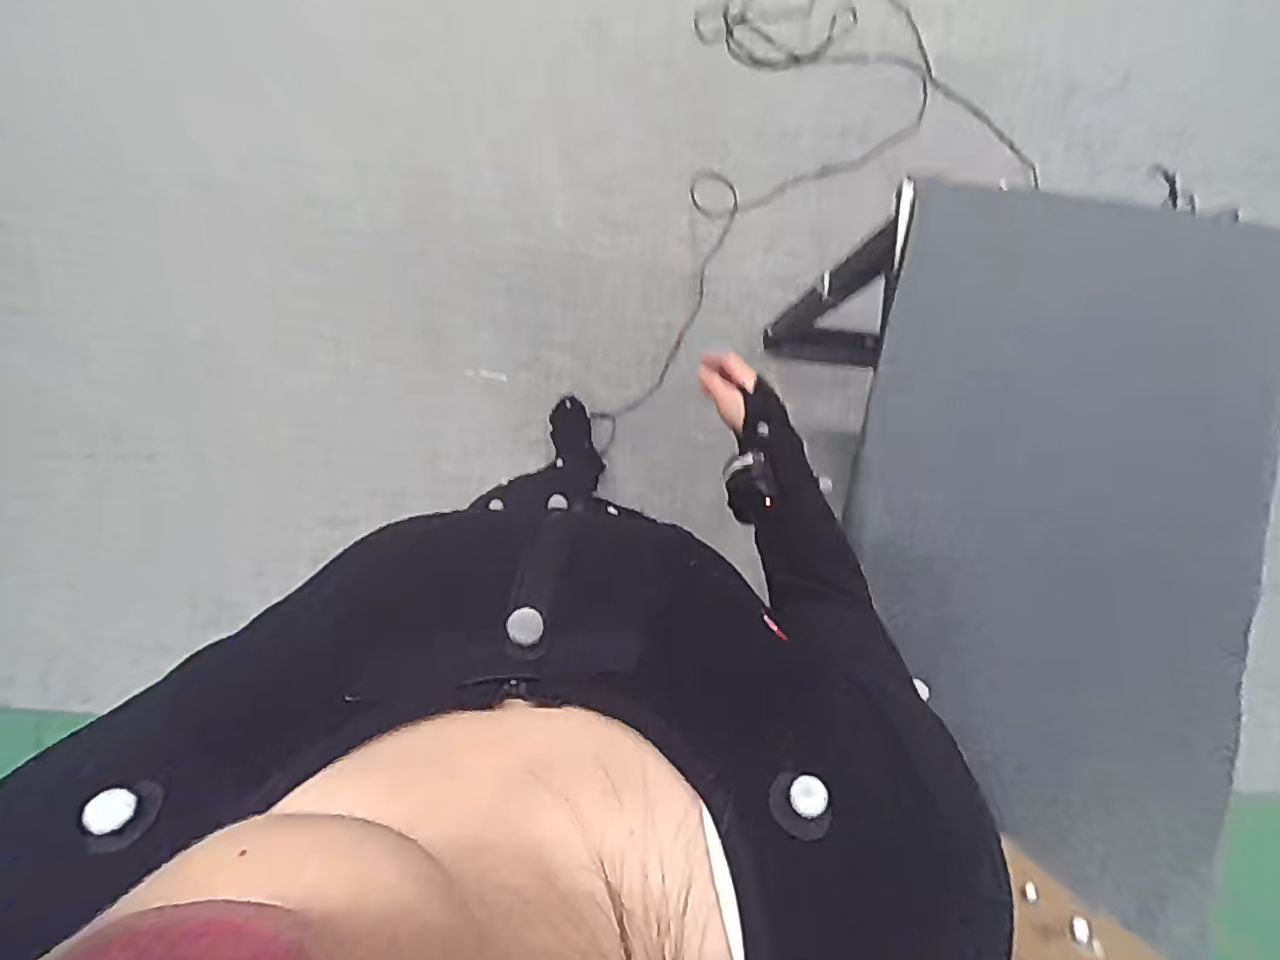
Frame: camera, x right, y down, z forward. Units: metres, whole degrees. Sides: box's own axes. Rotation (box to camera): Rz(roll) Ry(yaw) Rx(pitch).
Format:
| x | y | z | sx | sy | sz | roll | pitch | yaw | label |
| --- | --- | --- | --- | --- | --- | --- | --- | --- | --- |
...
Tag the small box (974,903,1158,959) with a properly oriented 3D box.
| x | y | z | sx | sy | sz | roll | pitch | yaw | label |
| --- | --- | --- | --- | --- | --- | --- | --- | --- | --- |
| 0.467 | 0.581 | 0.548 | 0.168 | 0.176 | 0.179 | 4 | 90 | -7 | small box |
